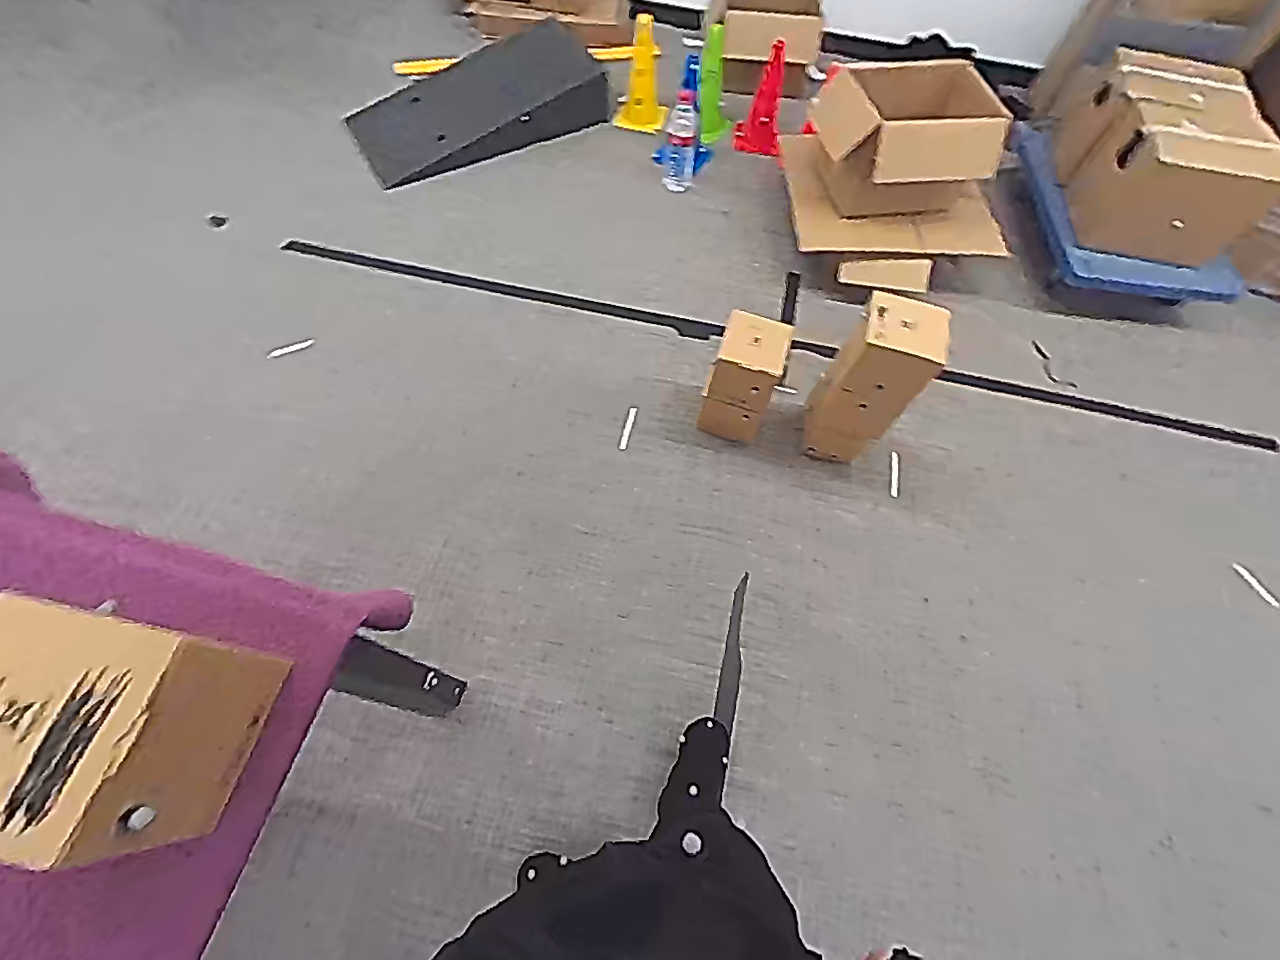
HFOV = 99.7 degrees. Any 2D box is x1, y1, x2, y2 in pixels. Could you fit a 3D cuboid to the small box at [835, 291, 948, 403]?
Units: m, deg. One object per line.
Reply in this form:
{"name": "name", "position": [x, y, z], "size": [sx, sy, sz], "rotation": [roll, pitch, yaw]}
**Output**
{"name": "small box", "position": [0.586, -0.305, 1.269], "size": [0.179, 0.176, 0.168], "rotation": [18, 64, 4]}

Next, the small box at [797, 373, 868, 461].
{"name": "small box", "position": [0.566, -0.178, 1.573], "size": [0.168, 0.176, 0.179], "rotation": [13, 63, 2]}

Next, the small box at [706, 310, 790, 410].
{"name": "small box", "position": [0.283, -0.313, 1.441], "size": [0.168, 0.176, 0.179], "rotation": [17, 62, 3]}

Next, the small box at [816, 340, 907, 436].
{"name": "small box", "position": [0.577, -0.235, 1.418], "size": [0.179, 0.176, 0.168], "rotation": [15, 64, 3]}

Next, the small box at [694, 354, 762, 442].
{"name": "small box", "position": [0.267, -0.234, 1.582], "size": [0.179, 0.176, 0.168], "rotation": [18, 64, 5]}
